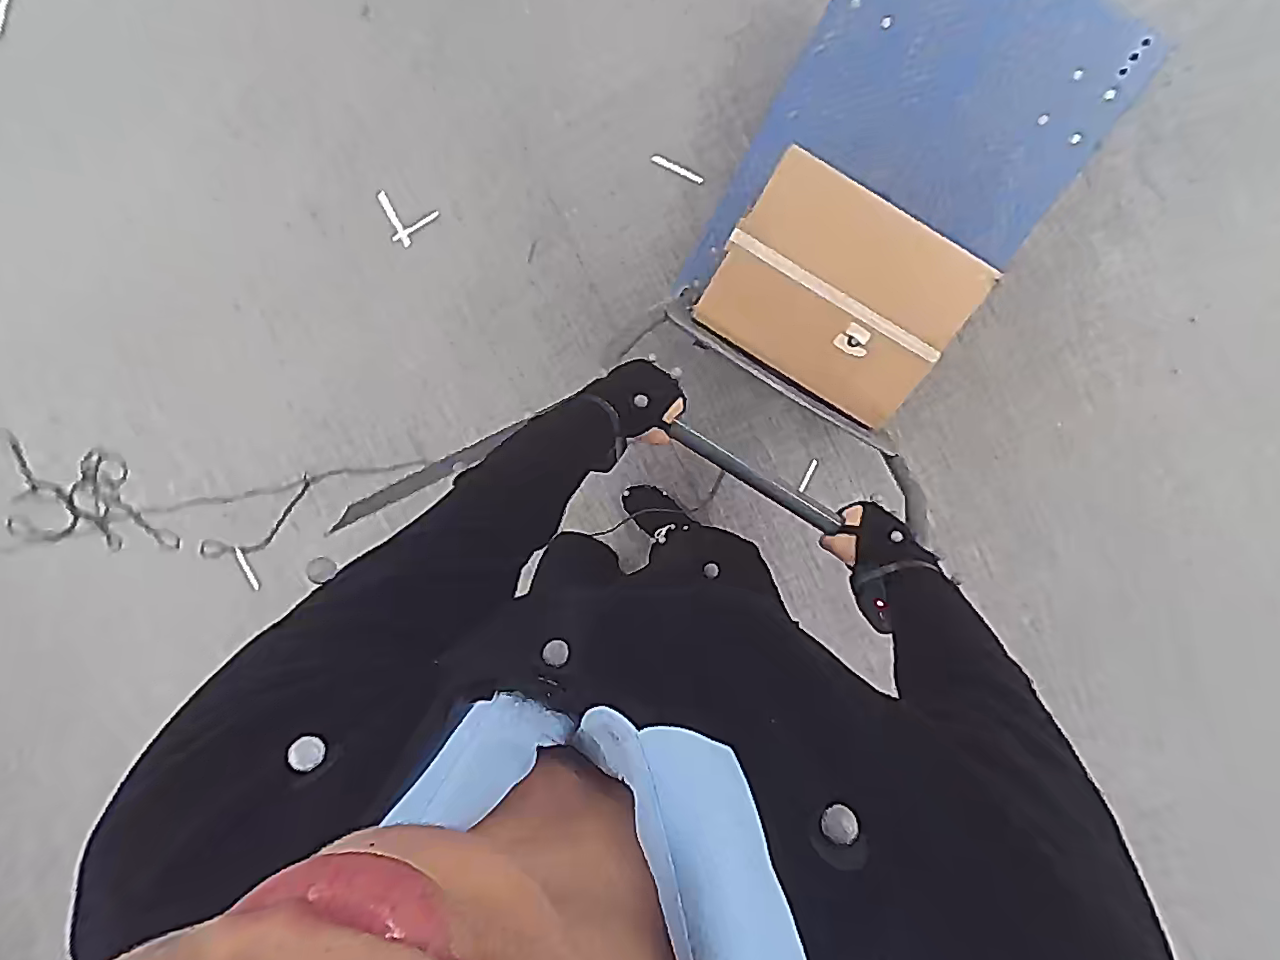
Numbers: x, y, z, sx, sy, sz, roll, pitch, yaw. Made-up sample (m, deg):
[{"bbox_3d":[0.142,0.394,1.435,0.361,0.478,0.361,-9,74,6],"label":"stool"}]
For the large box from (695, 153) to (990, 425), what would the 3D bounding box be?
[{"bbox_3d":[0.364,-0.369,1.085,0.408,0.320,0.320,32,112,-1],"label":"large box"}]
